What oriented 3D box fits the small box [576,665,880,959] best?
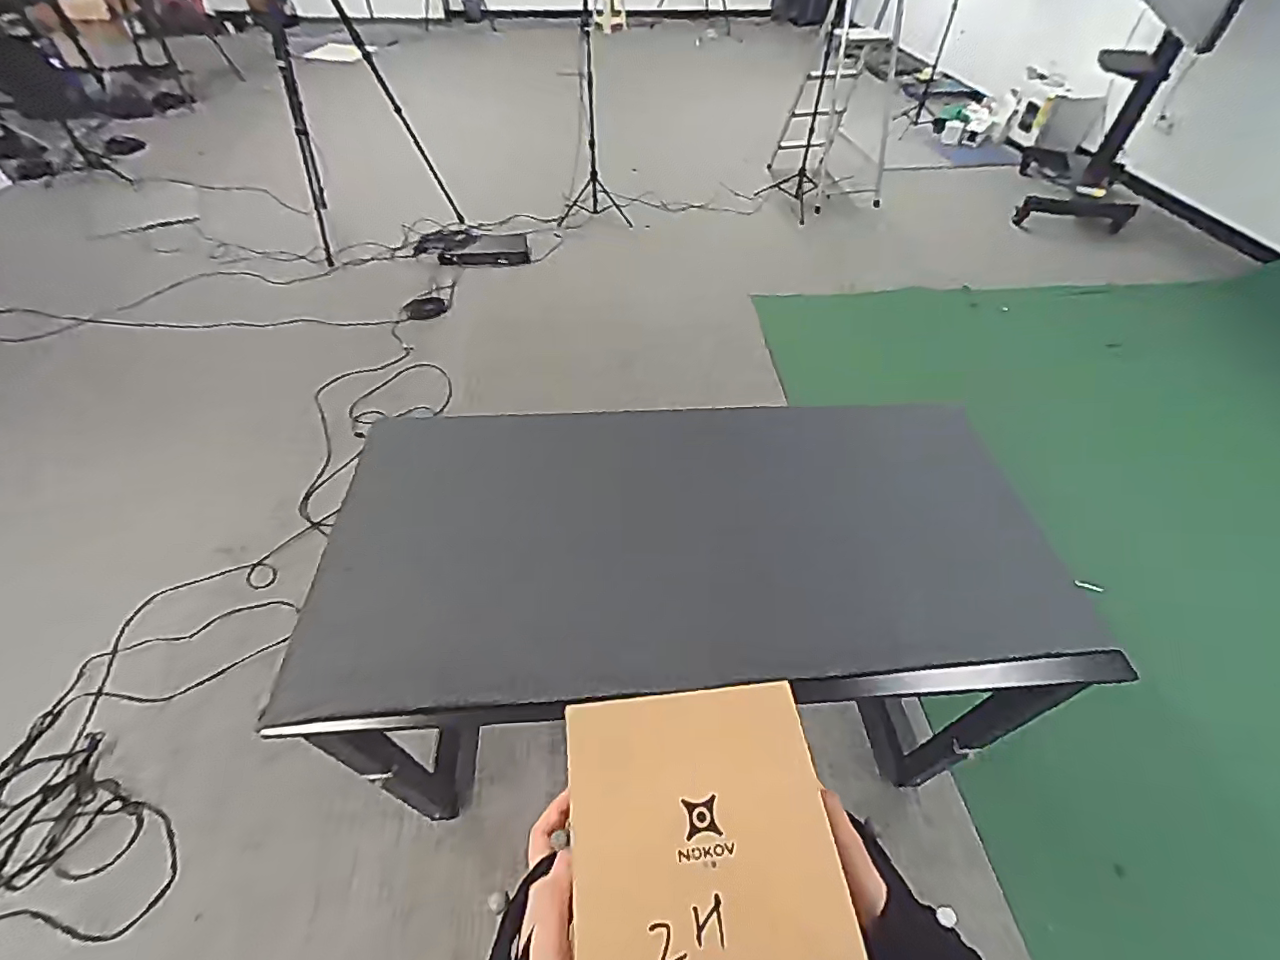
[{"bbox_3d":[0.039,0.257,0.396,0.168,0.176,0.179,-4,51,-5],"label":"small box"}]
